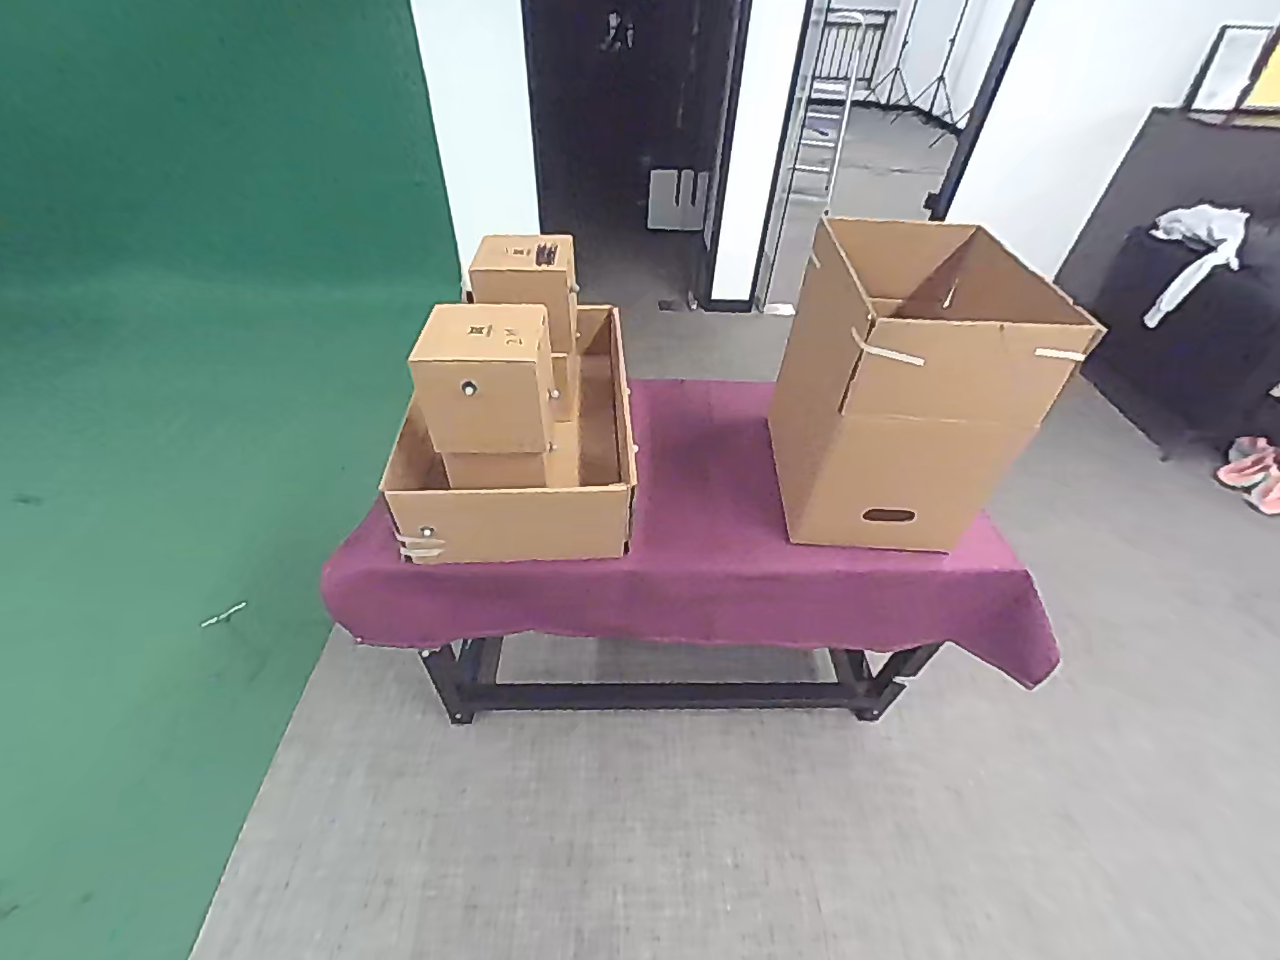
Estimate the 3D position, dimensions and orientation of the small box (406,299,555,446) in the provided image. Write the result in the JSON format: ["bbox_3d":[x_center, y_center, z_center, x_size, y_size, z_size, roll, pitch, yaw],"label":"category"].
[{"bbox_3d":[-0.234,-0.166,0.844,0.179,0.176,0.168,0,46,-2],"label":"small box"}]

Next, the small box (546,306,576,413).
[{"bbox_3d":[-0.229,-0.258,1.172,0.168,0.176,0.179,0,46,-2],"label":"small box"}]
